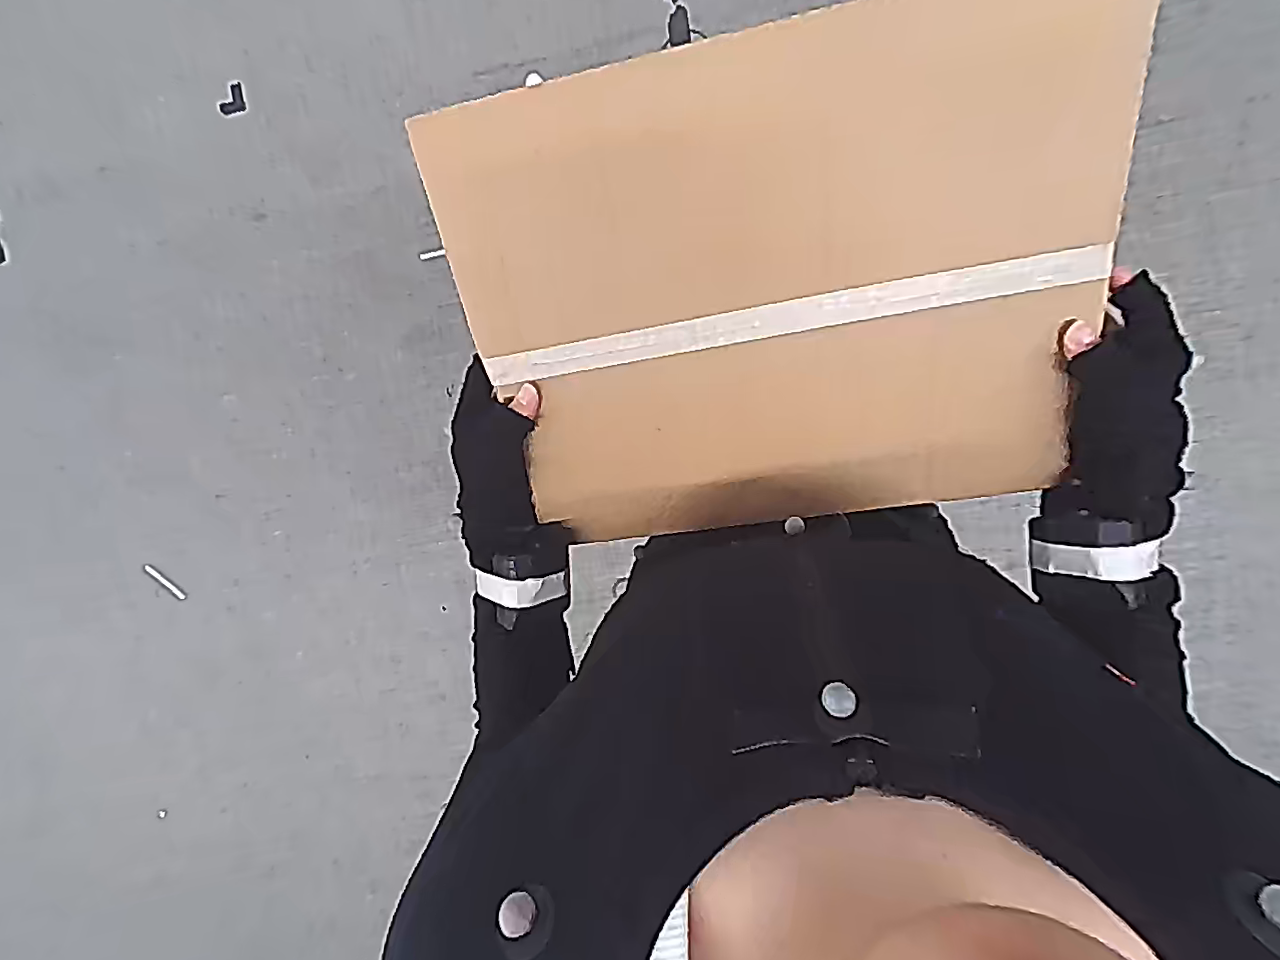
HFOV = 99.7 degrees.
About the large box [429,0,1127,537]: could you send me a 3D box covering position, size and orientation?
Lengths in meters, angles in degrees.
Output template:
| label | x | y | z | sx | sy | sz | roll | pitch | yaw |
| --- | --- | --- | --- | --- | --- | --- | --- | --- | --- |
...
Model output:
| label | x | y | z | sx | sy | sz | roll | pitch | yaw |
| --- | --- | --- | --- | --- | --- | --- | --- | --- | --- |
| large box | 0.098 | -0.179 | 0.502 | 0.408 | 0.320 | 0.320 | -8 | 118 | 9 |
